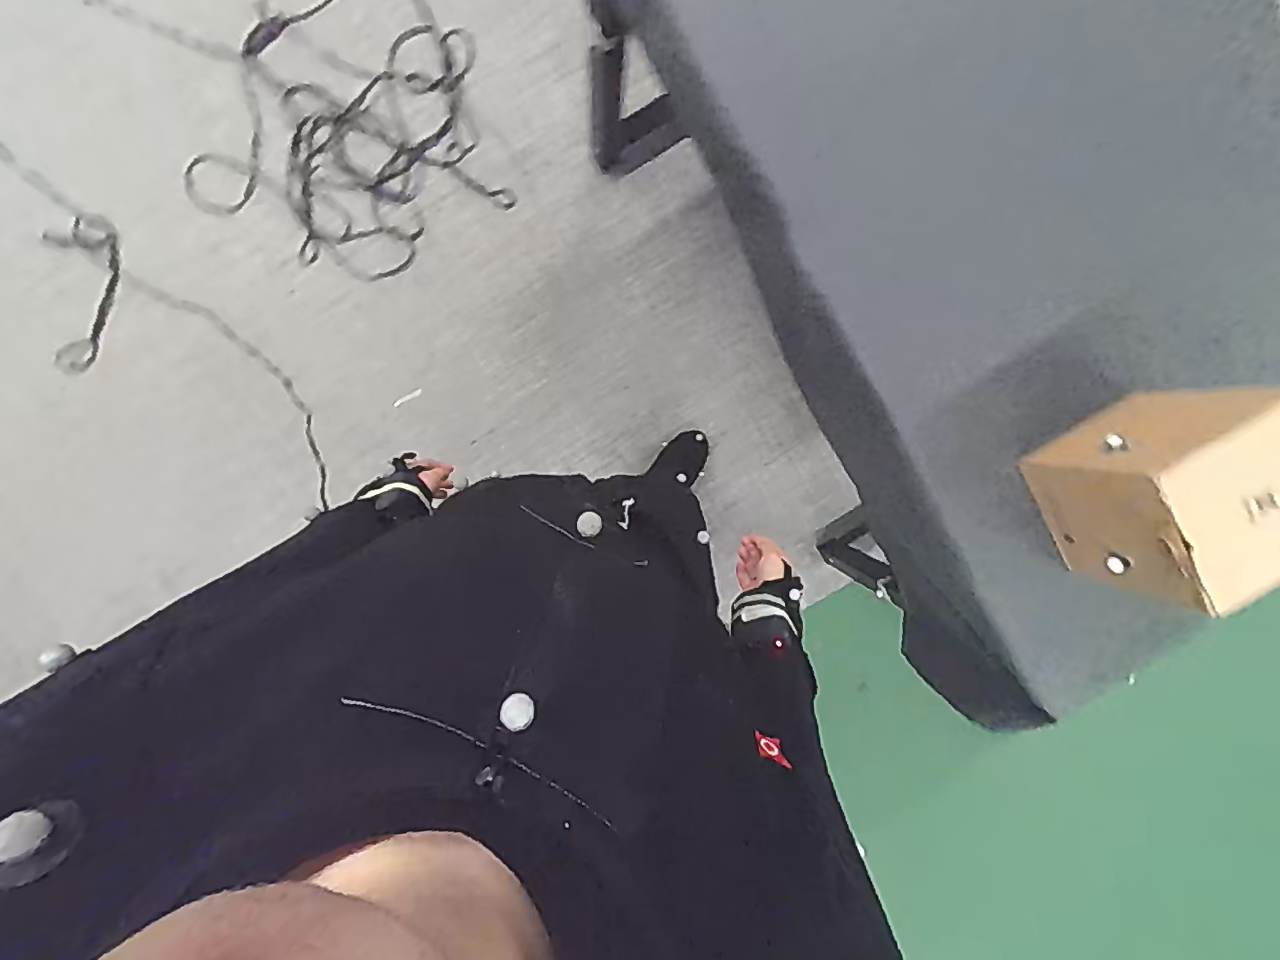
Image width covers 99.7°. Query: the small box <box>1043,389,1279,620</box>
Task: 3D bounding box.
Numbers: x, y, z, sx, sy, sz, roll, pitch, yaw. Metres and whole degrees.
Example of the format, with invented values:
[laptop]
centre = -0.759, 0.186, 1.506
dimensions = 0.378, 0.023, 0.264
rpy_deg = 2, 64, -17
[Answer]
[small box]
centre = 0.590, 0.017, 0.590
dimensions = 0.179, 0.176, 0.168
rpy_deg = -31, 99, -2
